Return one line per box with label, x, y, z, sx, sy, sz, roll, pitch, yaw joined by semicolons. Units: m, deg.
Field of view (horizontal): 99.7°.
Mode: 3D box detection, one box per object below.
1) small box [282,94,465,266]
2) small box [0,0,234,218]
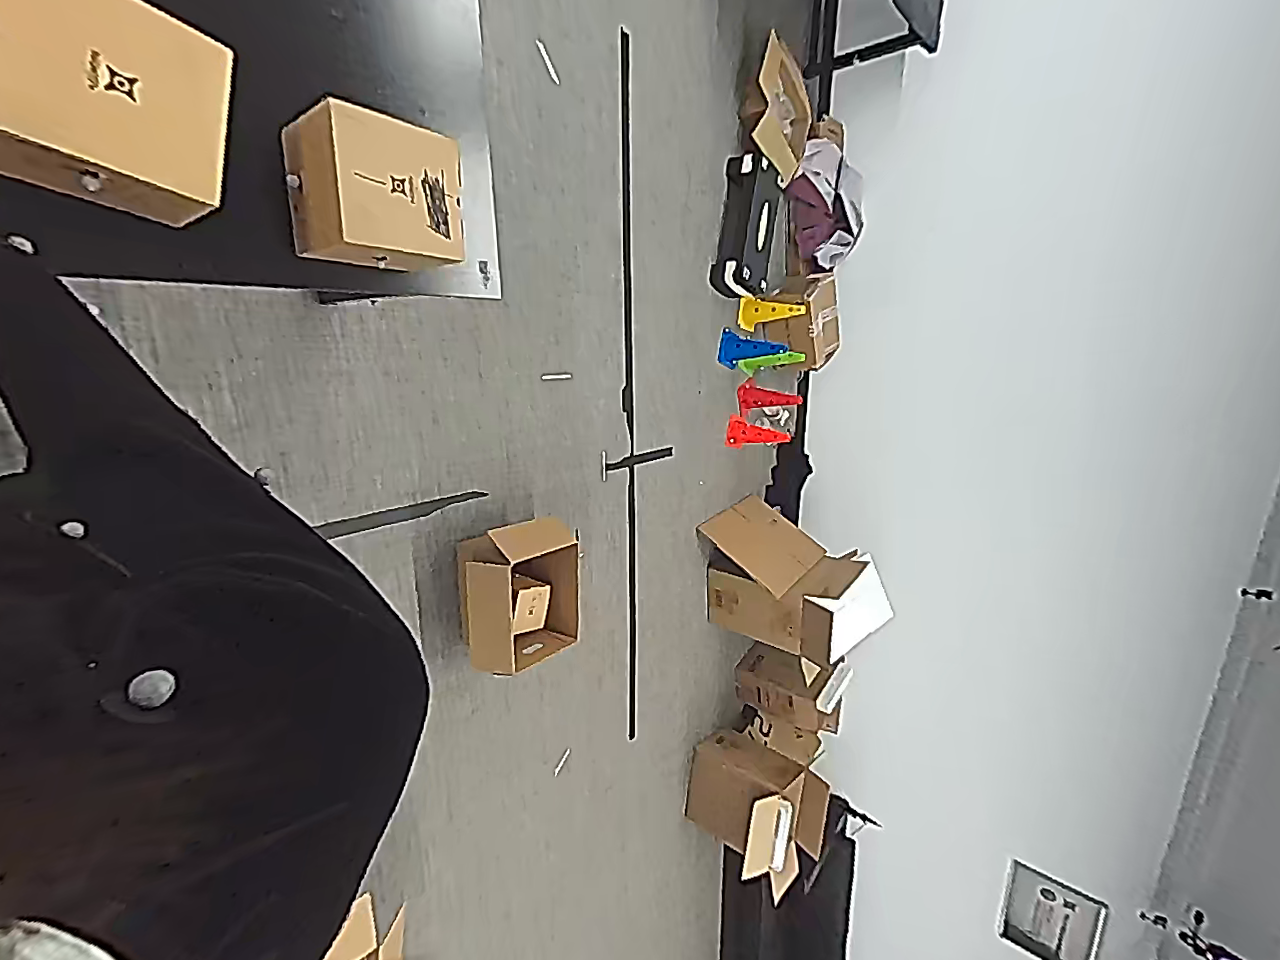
small box;-0.375;-0.407;0.771;0.179;0.176;0.168;-15;110;-48
small box;-0.554;-0.388;0.556;0.179;0.176;0.168;2;97;-51
